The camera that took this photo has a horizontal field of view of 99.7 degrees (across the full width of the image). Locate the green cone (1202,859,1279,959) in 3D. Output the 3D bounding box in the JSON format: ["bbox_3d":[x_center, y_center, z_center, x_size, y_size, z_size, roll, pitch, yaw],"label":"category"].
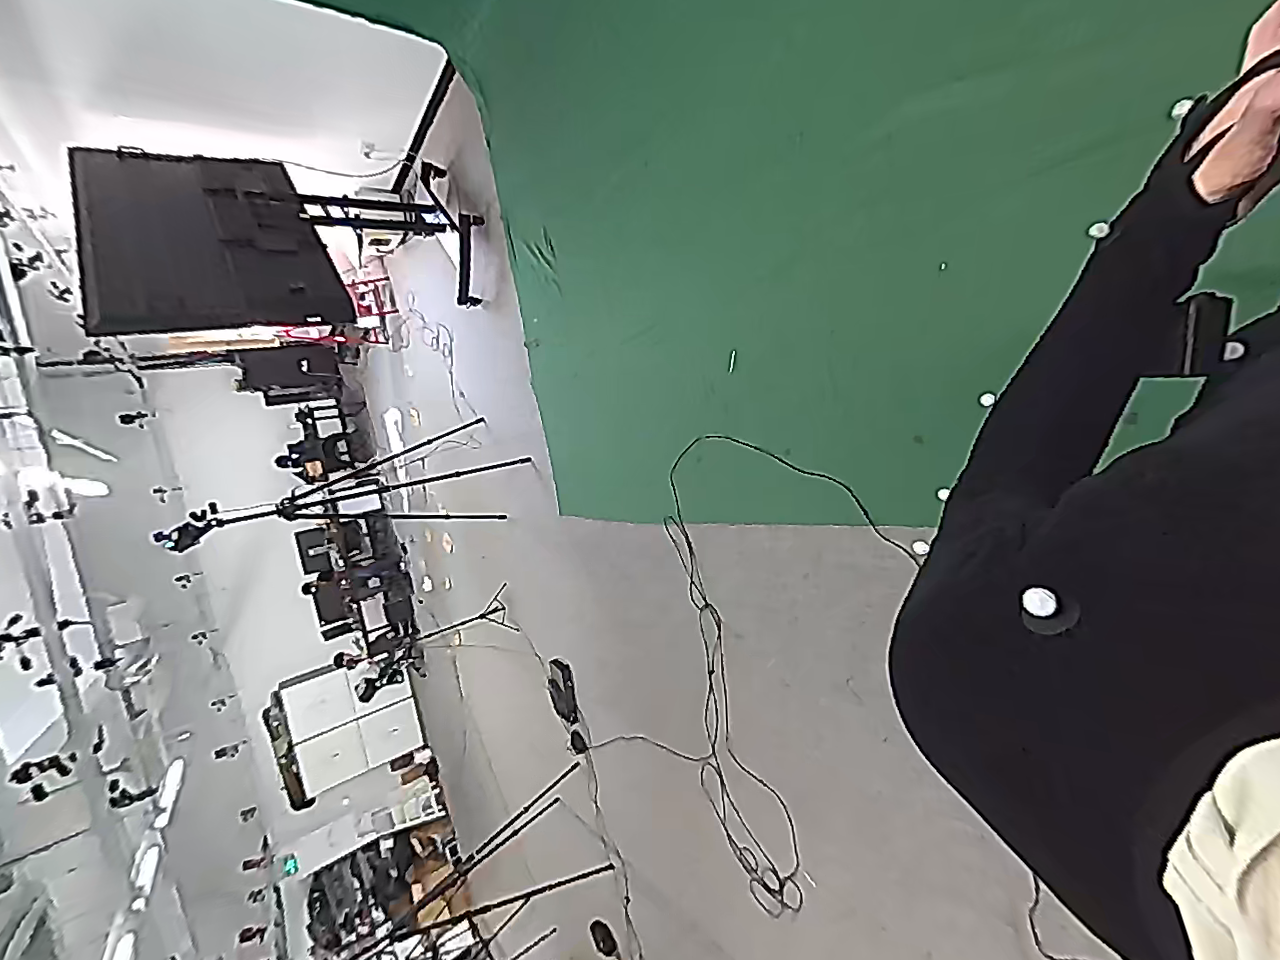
[{"bbox_3d":[1.328,1.054,1.167,0.202,0.368,0.200,-2,100,54],"label":"green cone"}]
